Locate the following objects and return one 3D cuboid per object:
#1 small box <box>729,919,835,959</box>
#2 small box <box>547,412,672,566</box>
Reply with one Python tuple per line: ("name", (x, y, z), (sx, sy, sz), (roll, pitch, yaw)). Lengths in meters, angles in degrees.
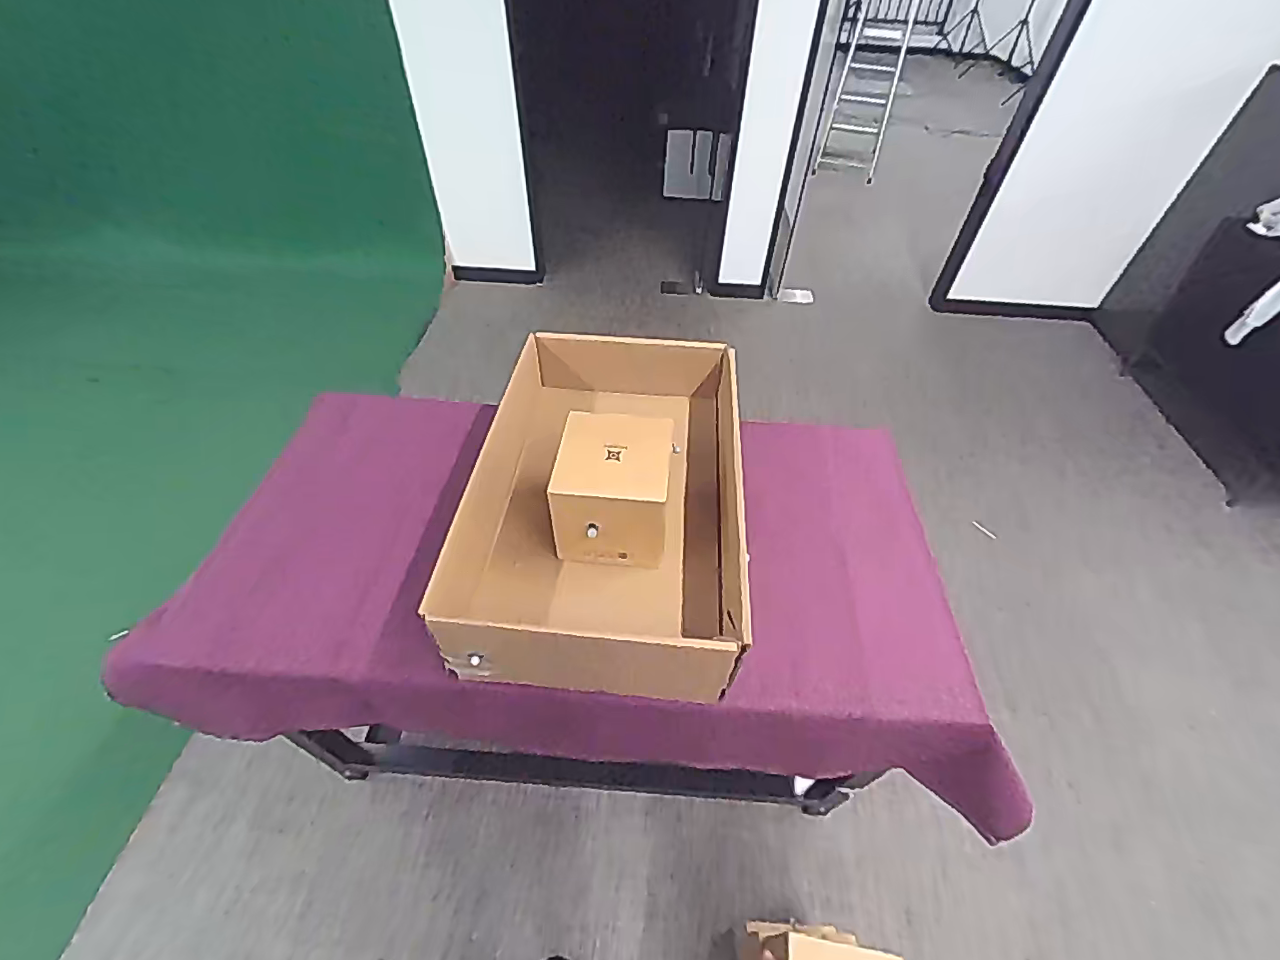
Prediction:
("small box", (0.276, 0.971, 1.056), (0.179, 0.176, 0.168), (3, 48, 1))
("small box", (-0.039, 0.016, 0.849), (0.168, 0.176, 0.179), (5, 47, 3))
